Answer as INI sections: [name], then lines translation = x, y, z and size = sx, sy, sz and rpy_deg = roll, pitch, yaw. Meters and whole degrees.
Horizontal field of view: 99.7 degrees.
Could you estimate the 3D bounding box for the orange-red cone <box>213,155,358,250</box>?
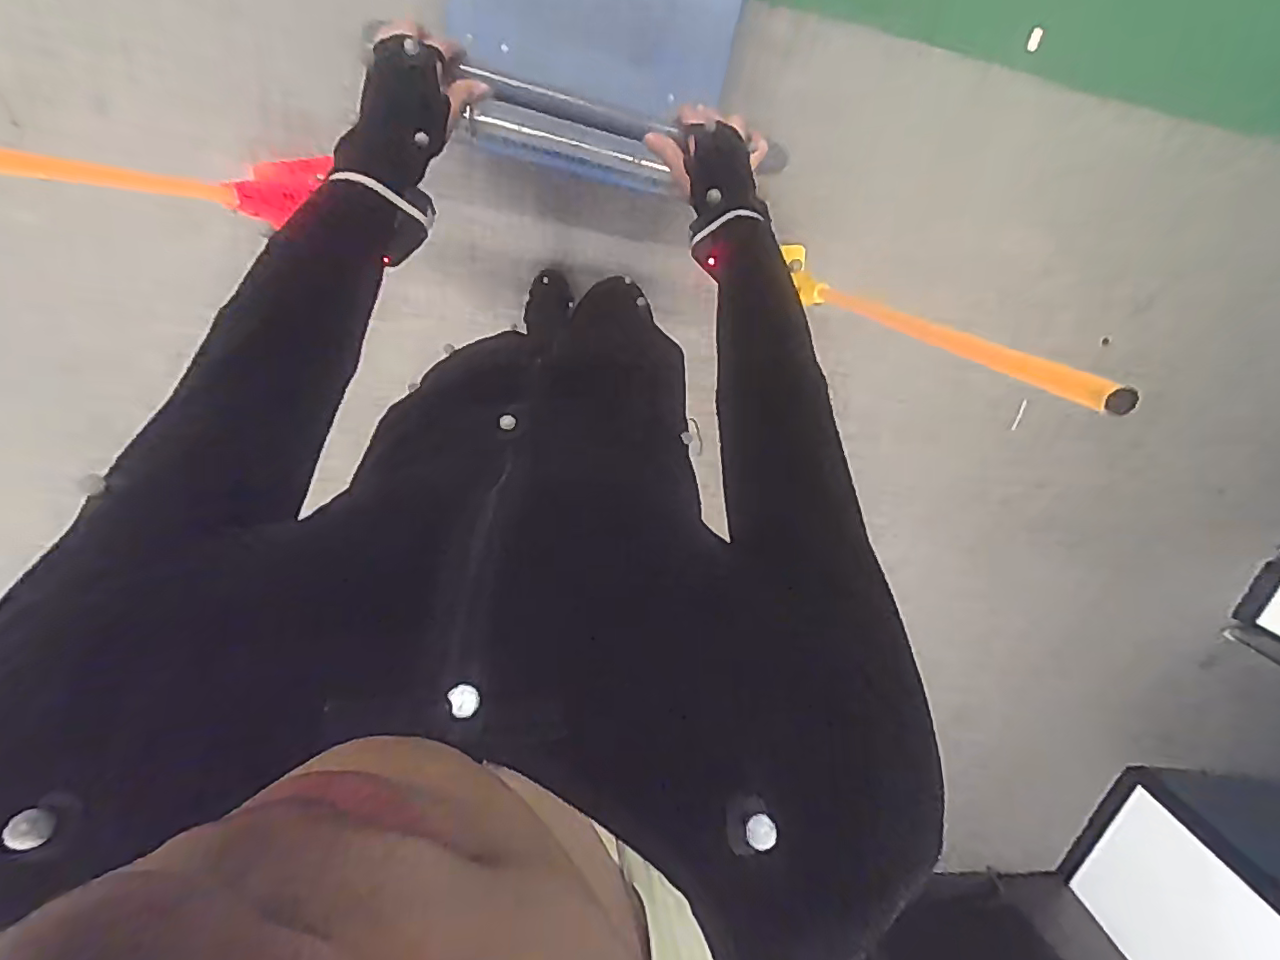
[orange-red cone]
translation = -0.778, -0.596, 1.142
size = 0.199, 0.360, 0.198
rpy_deg = -7, 114, -3
